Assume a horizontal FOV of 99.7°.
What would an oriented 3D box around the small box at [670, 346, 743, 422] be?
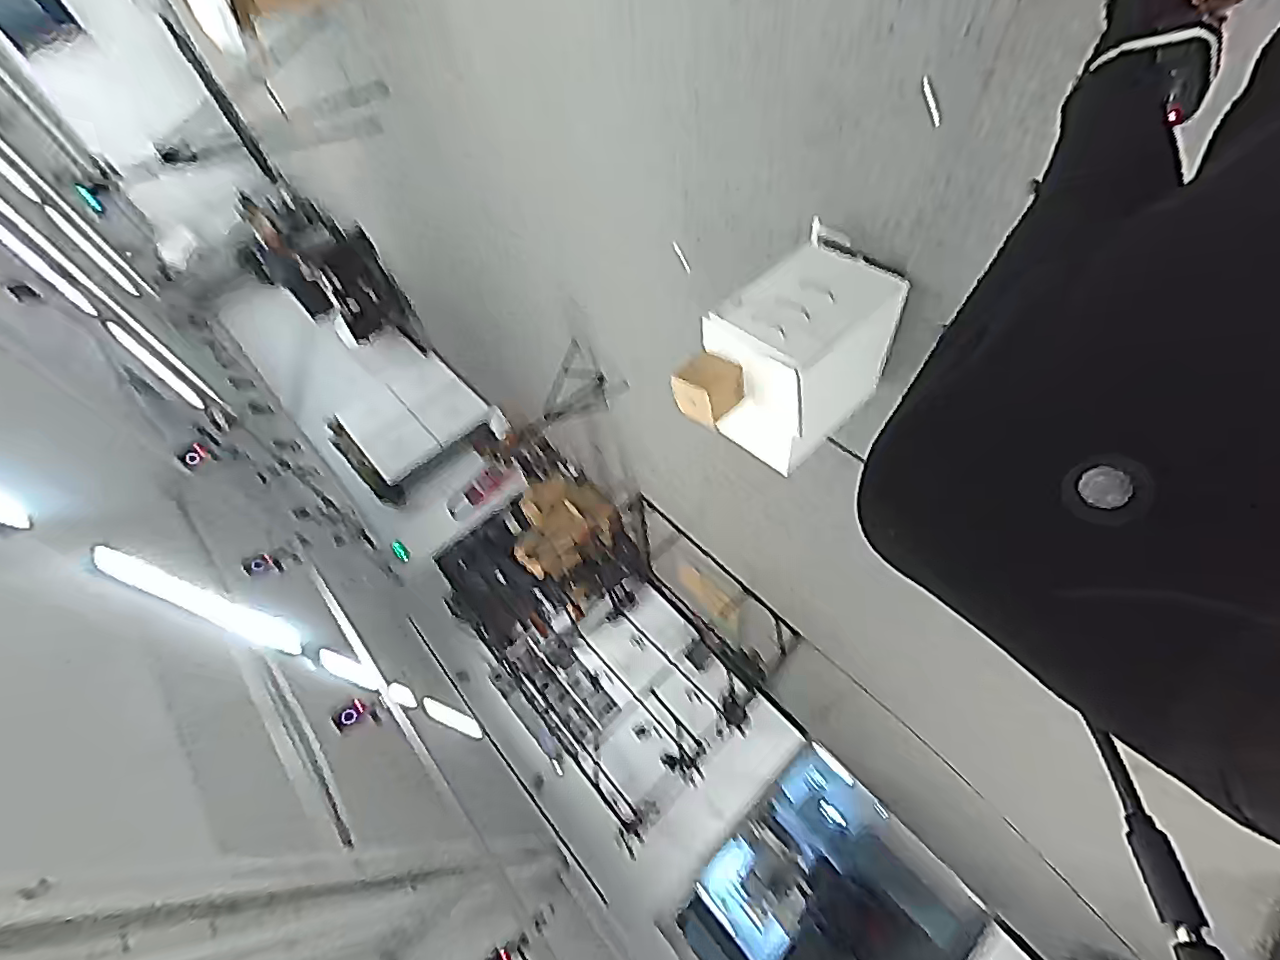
[{"bbox_3d":[0.230,-0.334,1.846,0.179,0.176,0.168,35,157,36],"label":"small box"}]
